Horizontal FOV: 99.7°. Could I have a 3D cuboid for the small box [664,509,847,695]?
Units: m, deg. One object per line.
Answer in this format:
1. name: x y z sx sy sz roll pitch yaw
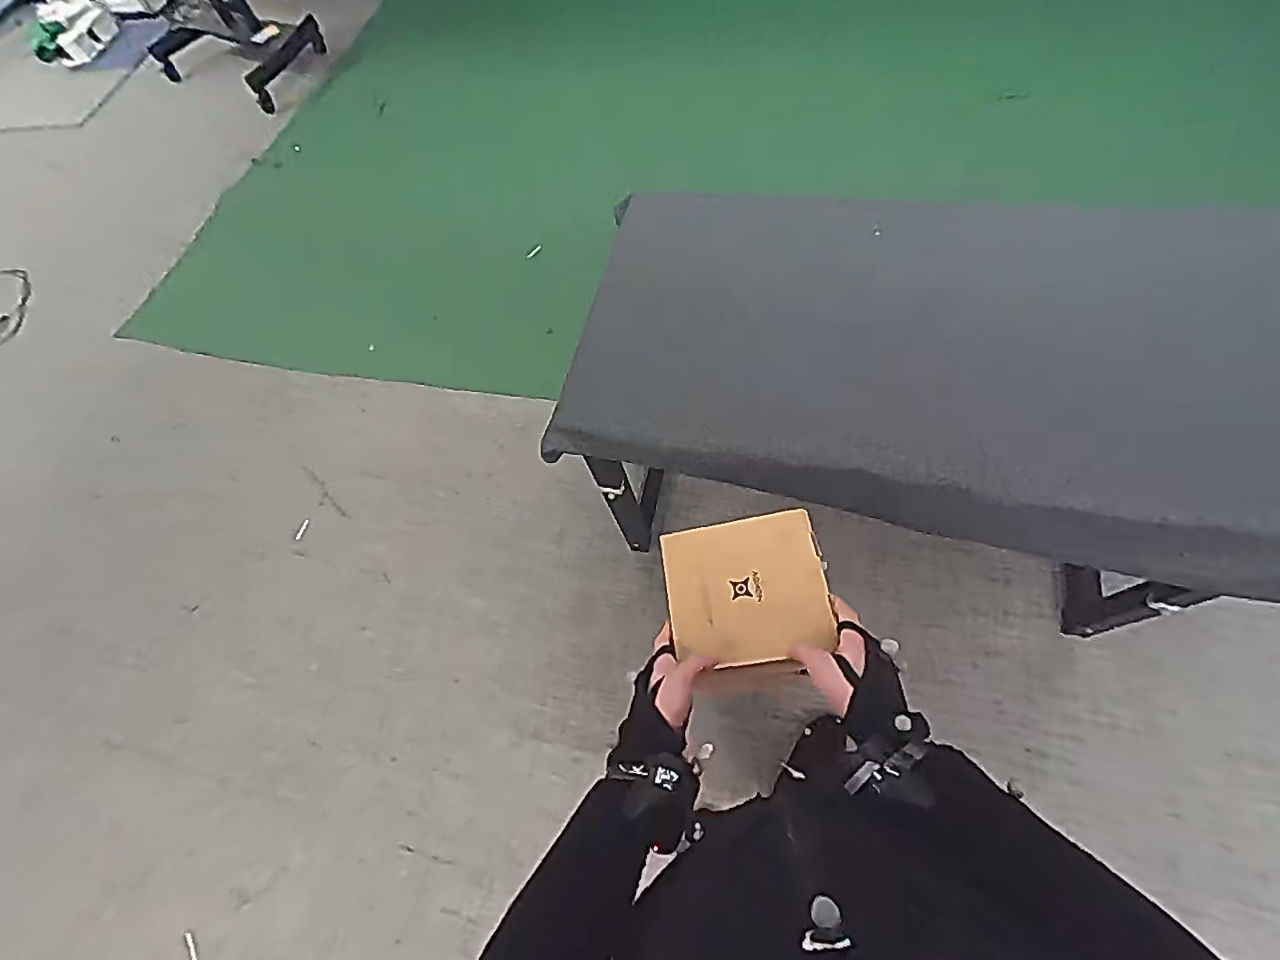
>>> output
1. small box: 0.135 0.154 0.655 0.179 0.176 0.168 -11 57 11
